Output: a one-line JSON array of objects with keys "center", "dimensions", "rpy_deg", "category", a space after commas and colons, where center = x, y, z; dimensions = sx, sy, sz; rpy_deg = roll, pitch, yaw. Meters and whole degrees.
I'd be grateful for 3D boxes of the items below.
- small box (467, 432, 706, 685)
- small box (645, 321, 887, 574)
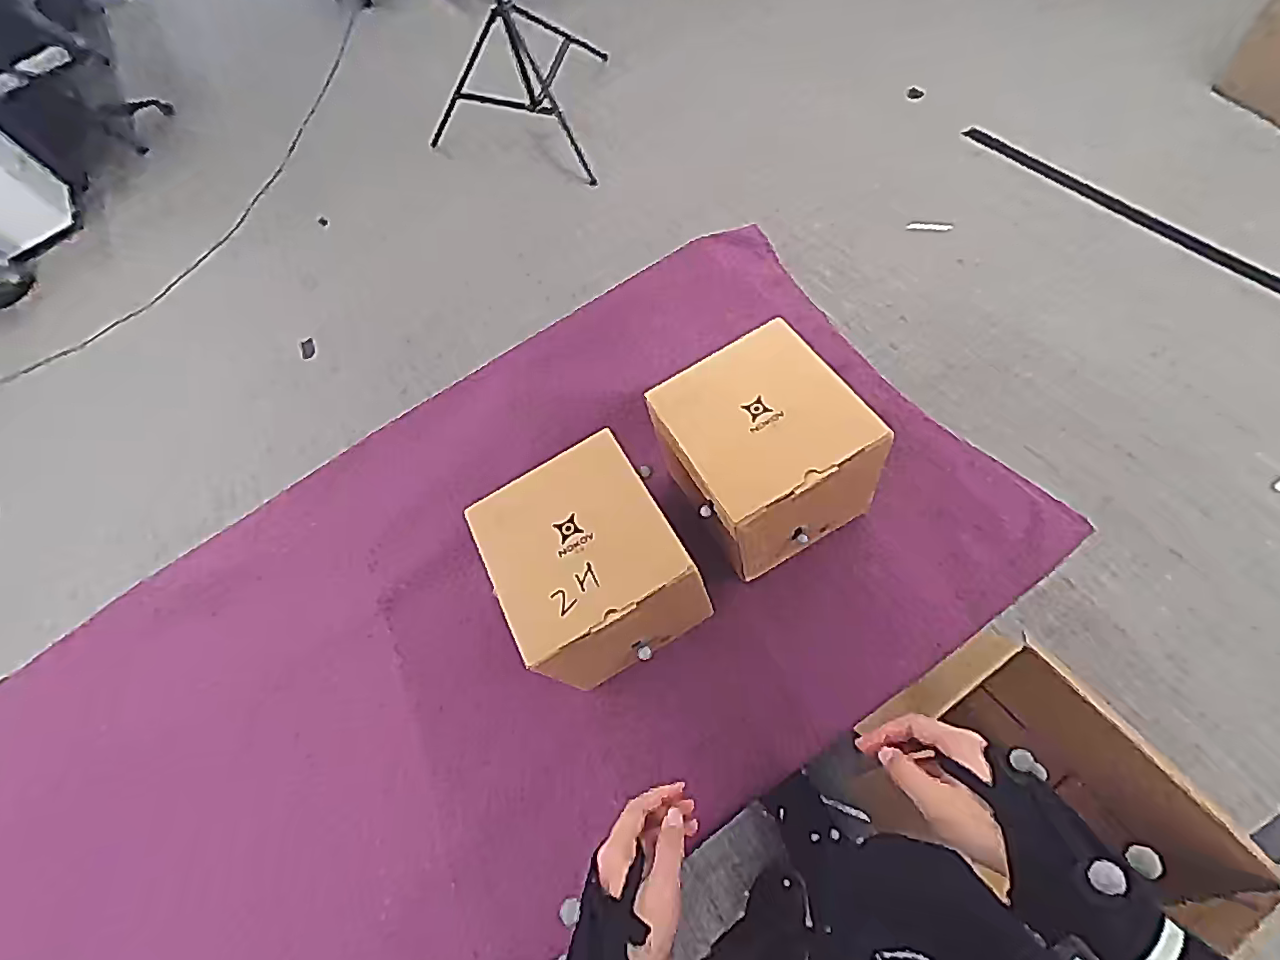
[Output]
[{"center": [-0.047, 0.089, 0.565], "dimensions": [0.168, 0.176, 0.179], "rpy_deg": [-31, 61, -3], "category": "small box"}, {"center": [0.127, -0.027, 0.583], "dimensions": [0.168, 0.176, 0.179], "rpy_deg": [-31, 60, -3], "category": "small box"}]
